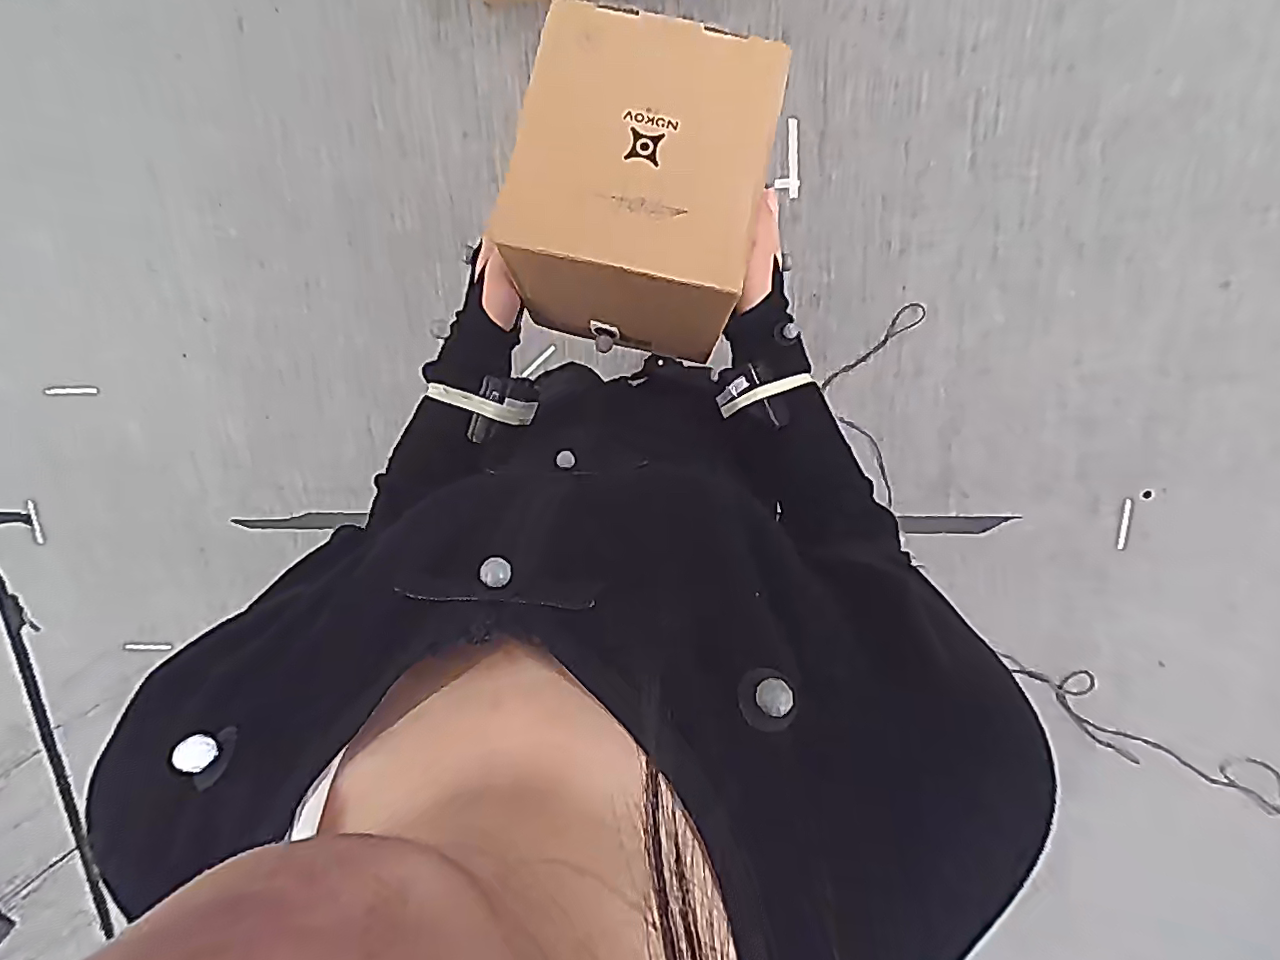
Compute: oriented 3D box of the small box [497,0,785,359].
[{"bbox_3d":[0.000,-0.218,0.437,0.168,0.176,0.179,11,87,0],"label":"small box"}]
